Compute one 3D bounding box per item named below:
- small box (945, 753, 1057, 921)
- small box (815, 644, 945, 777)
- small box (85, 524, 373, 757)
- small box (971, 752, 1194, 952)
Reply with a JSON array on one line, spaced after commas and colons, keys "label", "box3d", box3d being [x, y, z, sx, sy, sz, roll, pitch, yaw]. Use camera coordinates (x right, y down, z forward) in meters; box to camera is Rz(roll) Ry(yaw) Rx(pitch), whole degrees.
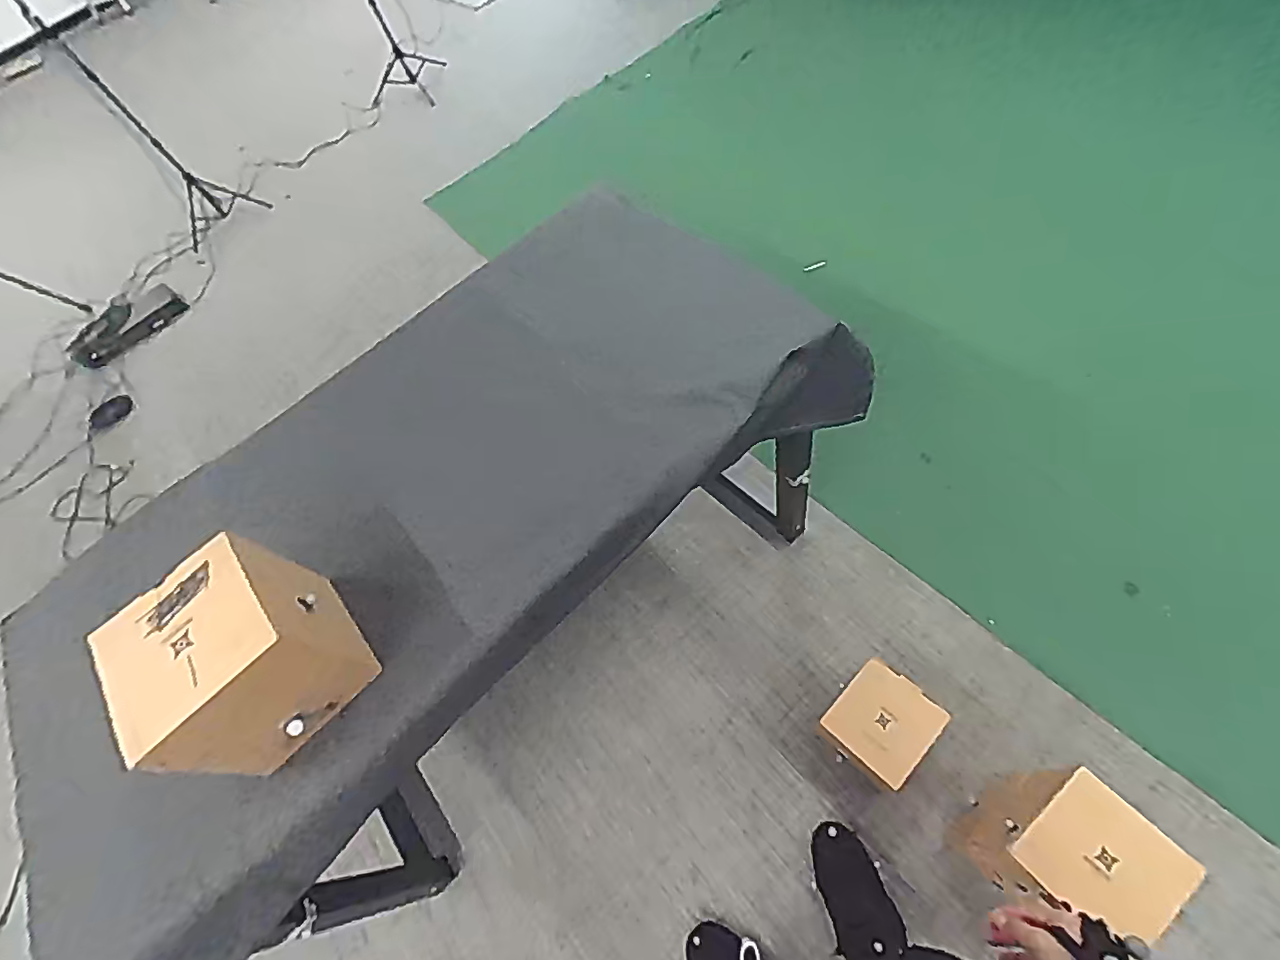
[{"label": "small box", "box3d": [0.671, 0.613, 0.952, 0.179, 0.176, 0.168, -42, 62, -9]}, {"label": "small box", "box3d": [0.468, 0.464, 1.085, 0.168, 0.176, 0.179, 37, 77, 29]}, {"label": "small box", "box3d": [-0.448, 0.187, 0.609, 0.168, 0.176, 0.179, -44, 62, -11]}, {"label": "small box", "box3d": [0.640, 0.537, 0.811, 0.179, 0.176, 0.168, -40, 61, -9]}]
